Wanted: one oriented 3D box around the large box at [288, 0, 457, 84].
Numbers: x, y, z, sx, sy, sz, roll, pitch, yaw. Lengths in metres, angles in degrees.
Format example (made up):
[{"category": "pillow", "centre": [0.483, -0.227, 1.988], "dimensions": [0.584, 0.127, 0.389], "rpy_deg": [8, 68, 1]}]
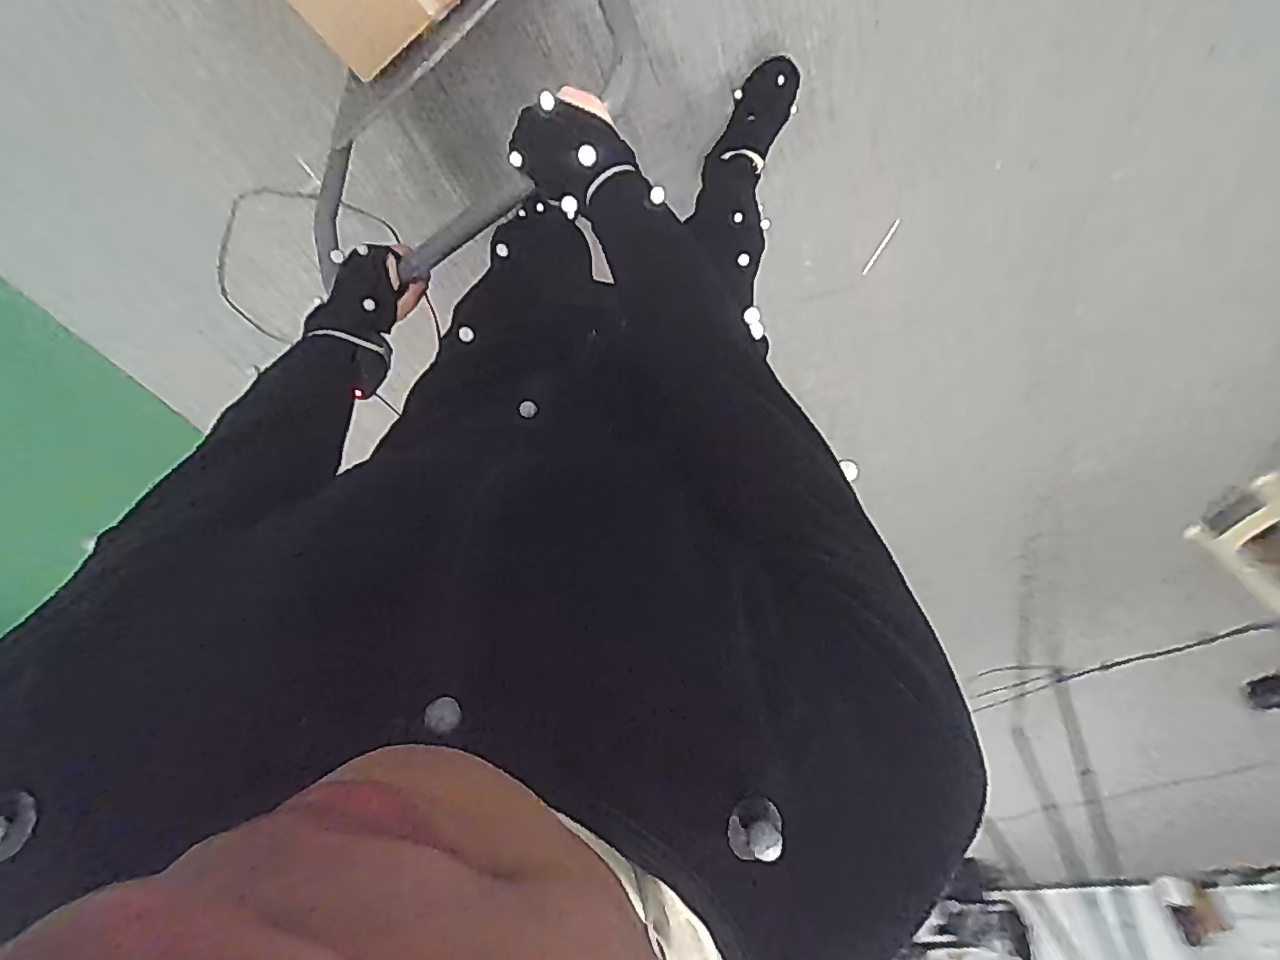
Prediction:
[{"category": "large box", "centre": [-0.395, -0.853, 0.687], "dimensions": [0.320, 0.320, 0.408], "rpy_deg": [-22, 145, 25]}]
